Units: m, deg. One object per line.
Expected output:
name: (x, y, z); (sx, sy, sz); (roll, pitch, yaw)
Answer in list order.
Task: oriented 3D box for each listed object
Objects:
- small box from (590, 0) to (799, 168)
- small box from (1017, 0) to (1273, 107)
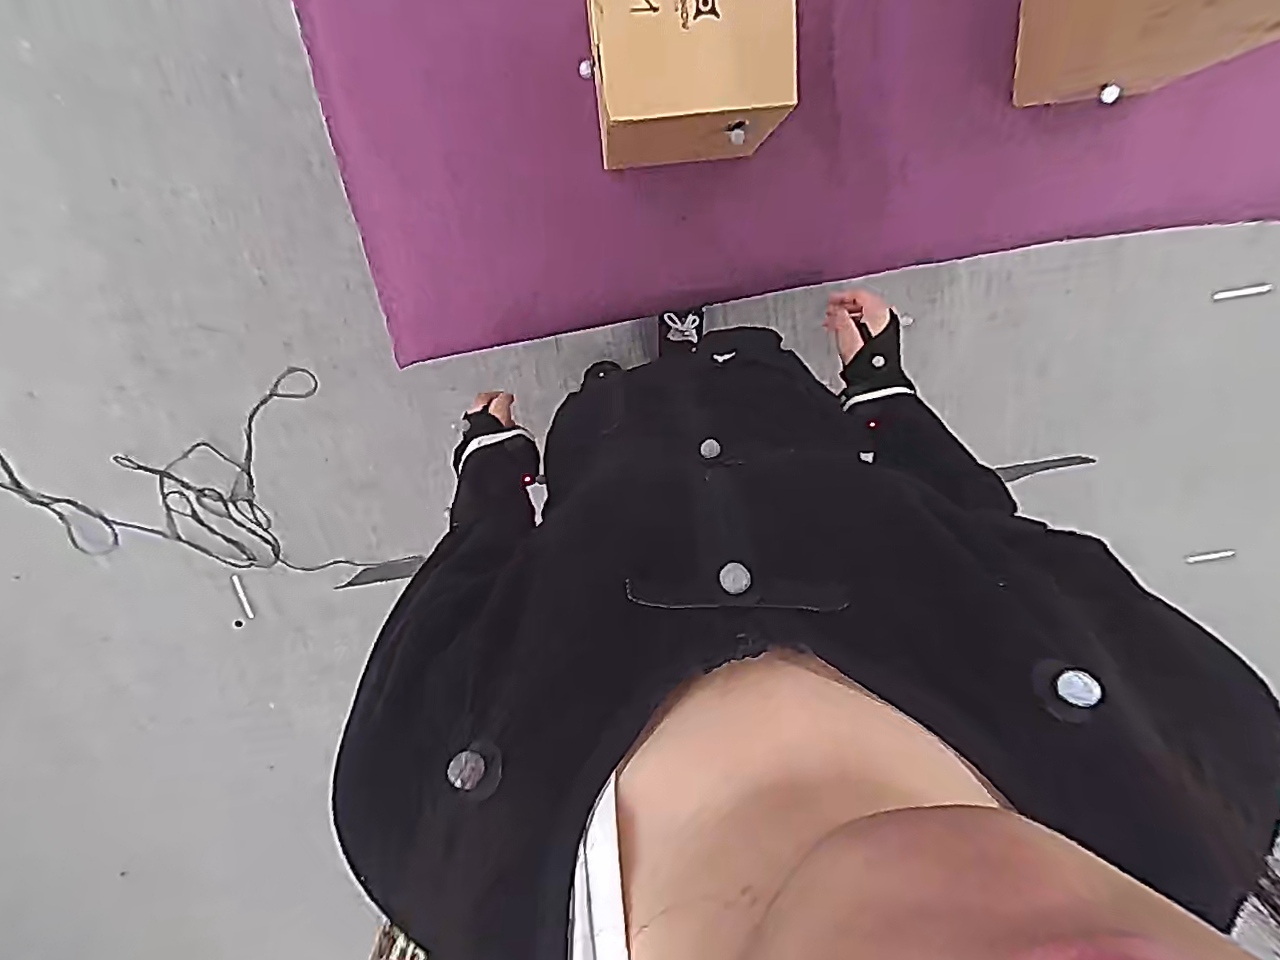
small box: (0.044, -0.426, 0.534); (0.179, 0.176, 0.168); (-6, 107, -1)
small box: (0.515, -0.506, 0.537); (0.168, 0.176, 0.179); (-7, 108, -1)
